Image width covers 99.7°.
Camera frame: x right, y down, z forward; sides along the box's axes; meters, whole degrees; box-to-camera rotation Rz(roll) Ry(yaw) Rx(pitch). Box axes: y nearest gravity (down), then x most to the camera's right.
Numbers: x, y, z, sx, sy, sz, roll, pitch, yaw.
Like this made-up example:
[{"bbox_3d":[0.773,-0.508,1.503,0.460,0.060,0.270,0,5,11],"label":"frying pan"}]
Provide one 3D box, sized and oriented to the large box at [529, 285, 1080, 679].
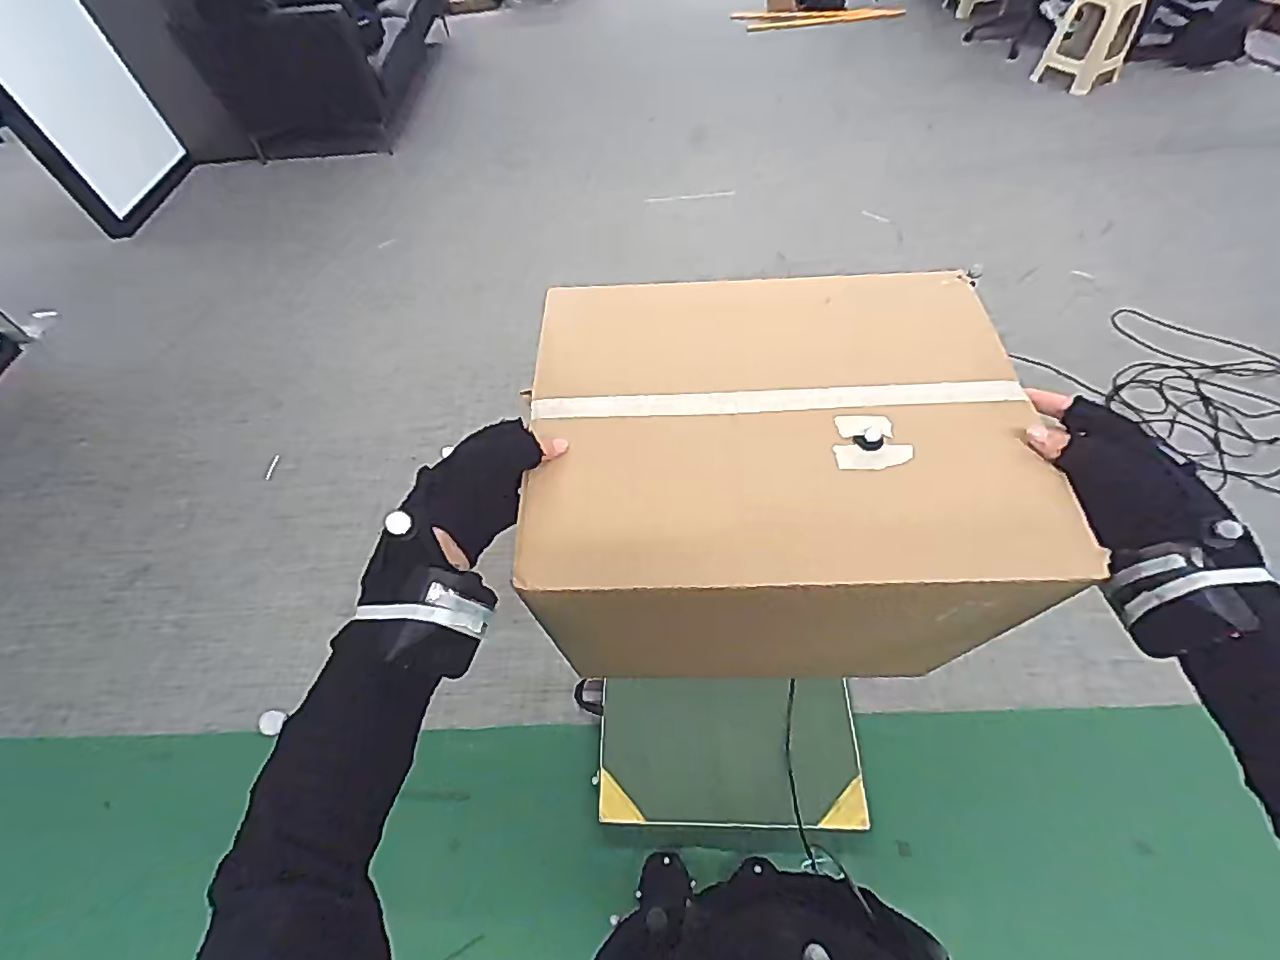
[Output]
[{"bbox_3d":[0.116,0.020,0.588,0.408,0.320,0.320,-1,59,1],"label":"large box"}]
